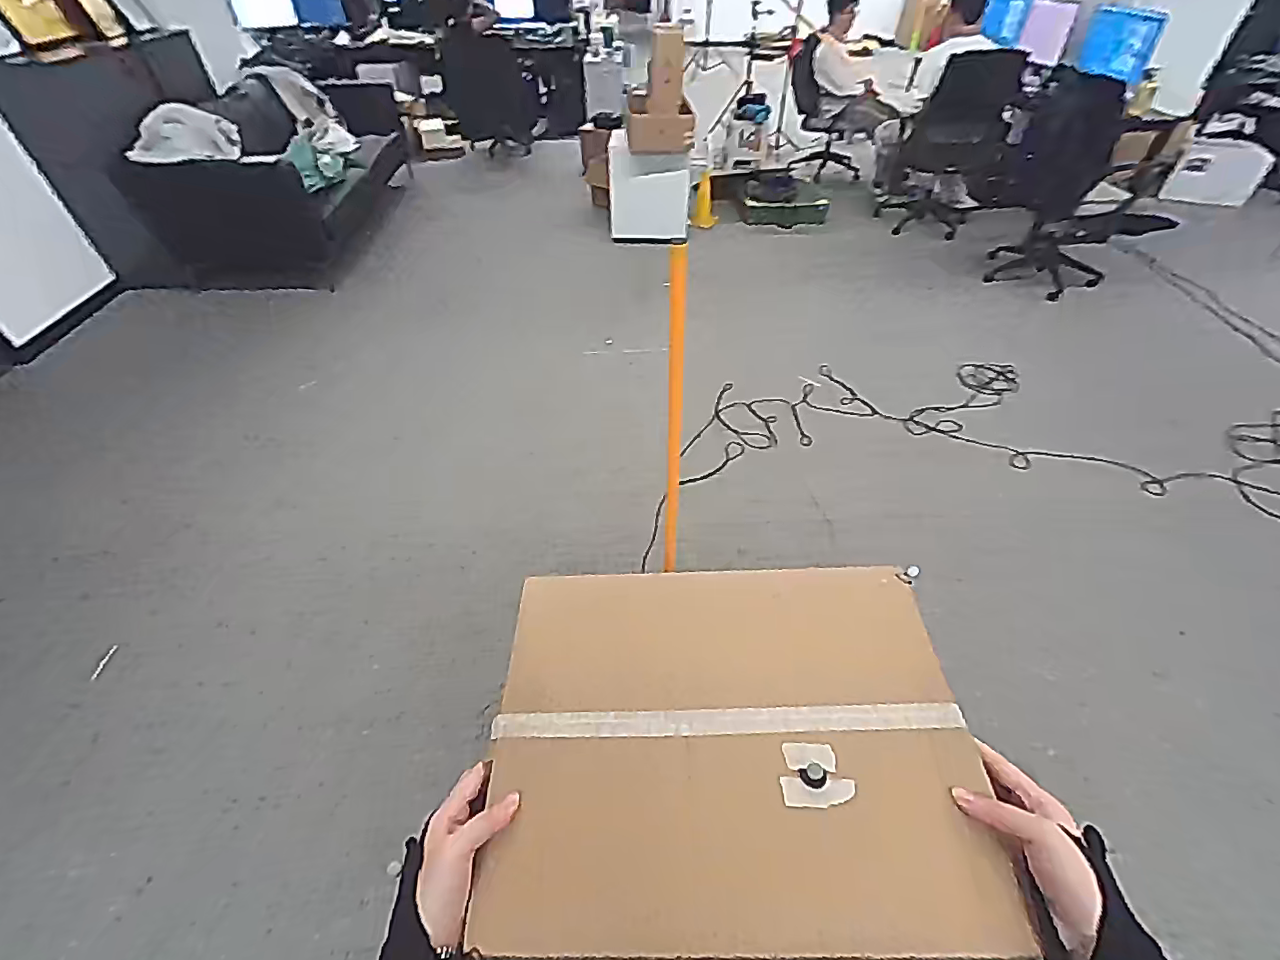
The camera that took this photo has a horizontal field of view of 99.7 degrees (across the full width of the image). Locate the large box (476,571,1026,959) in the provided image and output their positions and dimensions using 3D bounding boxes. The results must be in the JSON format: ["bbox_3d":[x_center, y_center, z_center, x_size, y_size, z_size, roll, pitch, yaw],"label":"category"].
[{"bbox_3d":[0.080,0.321,0.593,0.408,0.320,0.320,-2,47,1],"label":"large box"}]
